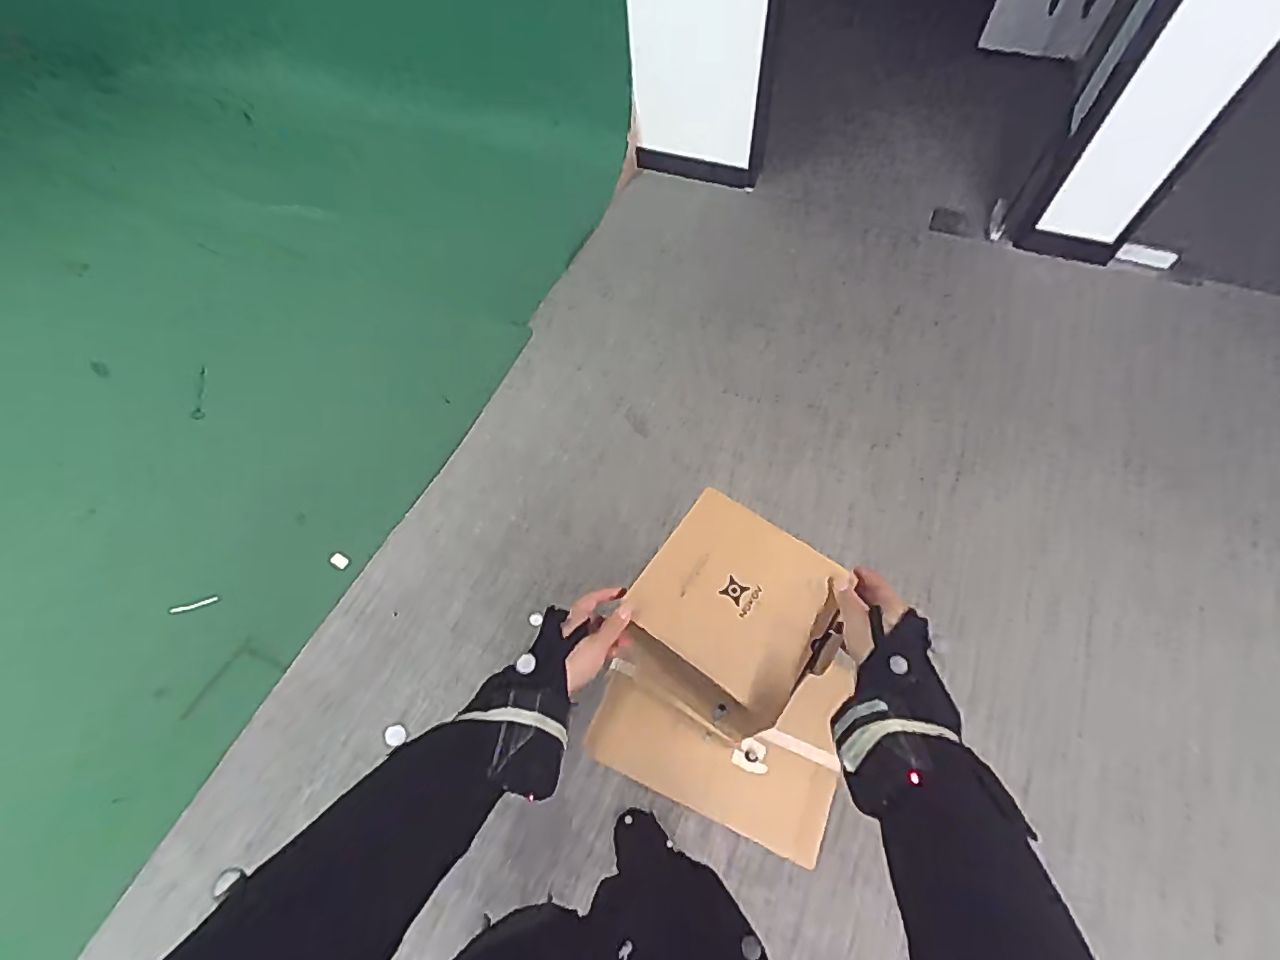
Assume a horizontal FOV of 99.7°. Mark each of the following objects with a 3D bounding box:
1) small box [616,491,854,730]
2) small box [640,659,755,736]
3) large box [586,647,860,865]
[{"bbox_3d":[0.096,0.149,0.590,0.179,0.176,0.168,32,66,19],"label":"small box"},{"bbox_3d":[0.108,0.224,0.733,0.179,0.176,0.168,31,67,18],"label":"small box"},{"bbox_3d":[0.151,0.472,1.058,0.408,0.320,0.320,20,65,13],"label":"large box"}]
